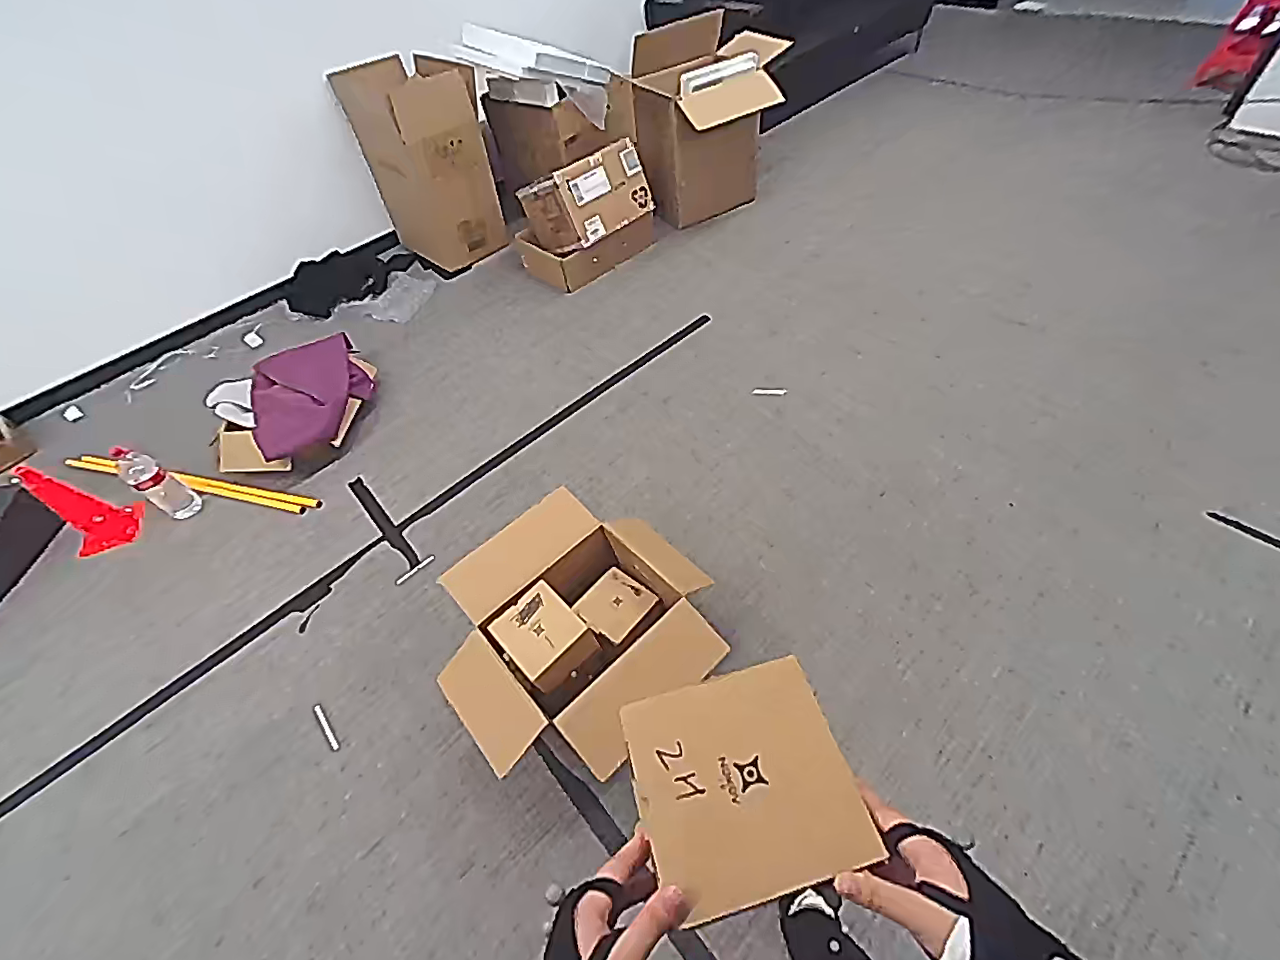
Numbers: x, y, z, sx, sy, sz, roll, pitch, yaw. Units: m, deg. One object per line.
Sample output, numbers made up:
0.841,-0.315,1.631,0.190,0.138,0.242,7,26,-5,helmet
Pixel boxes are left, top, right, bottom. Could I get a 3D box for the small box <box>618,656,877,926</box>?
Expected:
0.088,0.297,0.518,0.179,0.176,0.168,-16,51,-5,small box
